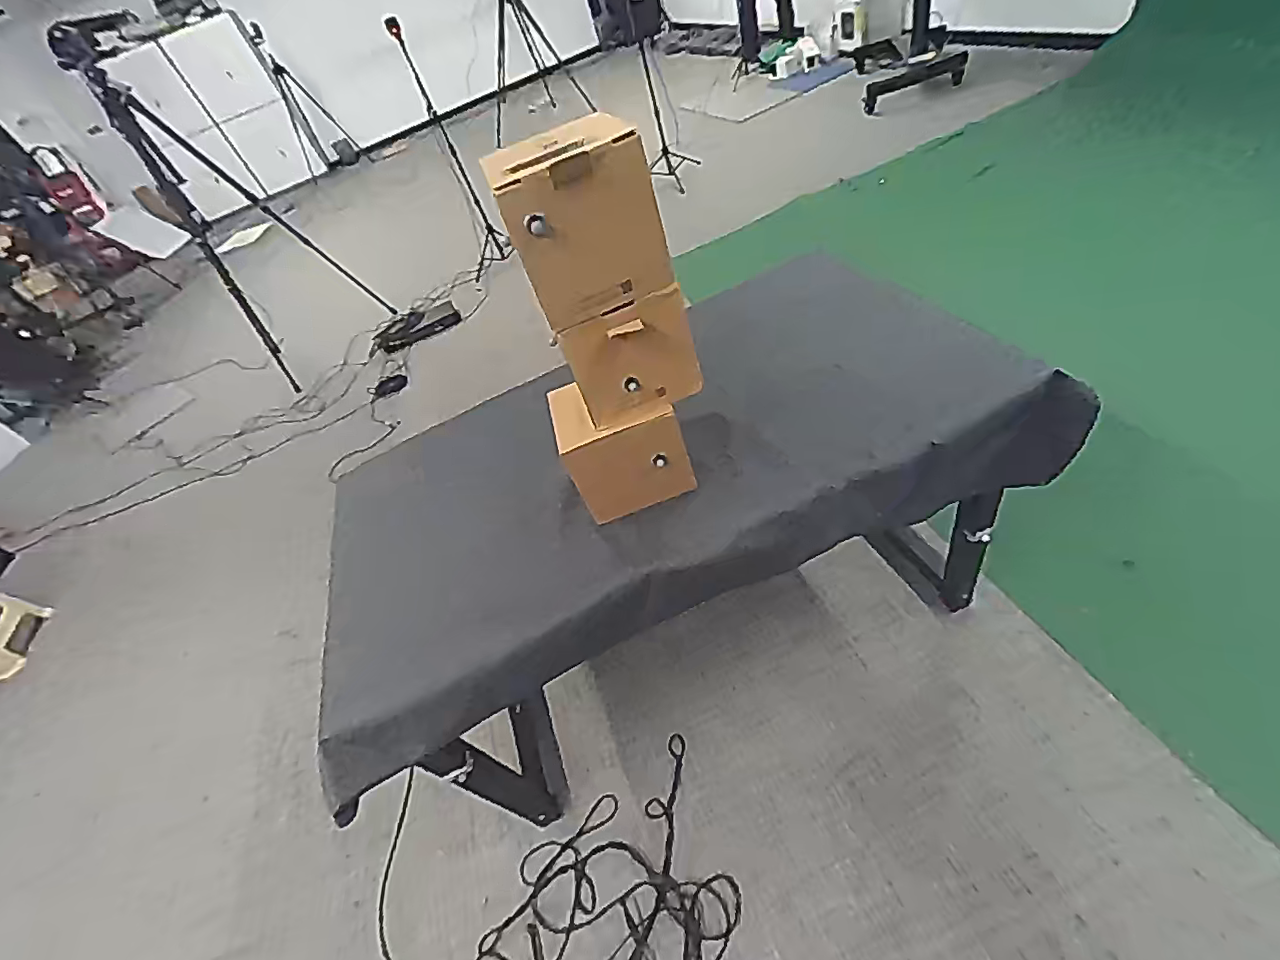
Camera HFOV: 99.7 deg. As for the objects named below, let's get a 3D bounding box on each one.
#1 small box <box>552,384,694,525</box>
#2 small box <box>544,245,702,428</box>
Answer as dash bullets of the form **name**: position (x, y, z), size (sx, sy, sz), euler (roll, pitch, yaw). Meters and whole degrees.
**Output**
- **small box**: position (-0.022, -0.059, 0.870), size (0.179, 0.176, 0.168), euler (-22, 43, 2)
- **small box**: position (-0.024, -0.205, 0.778), size (0.168, 0.176, 0.179), euler (-21, 43, 0)
